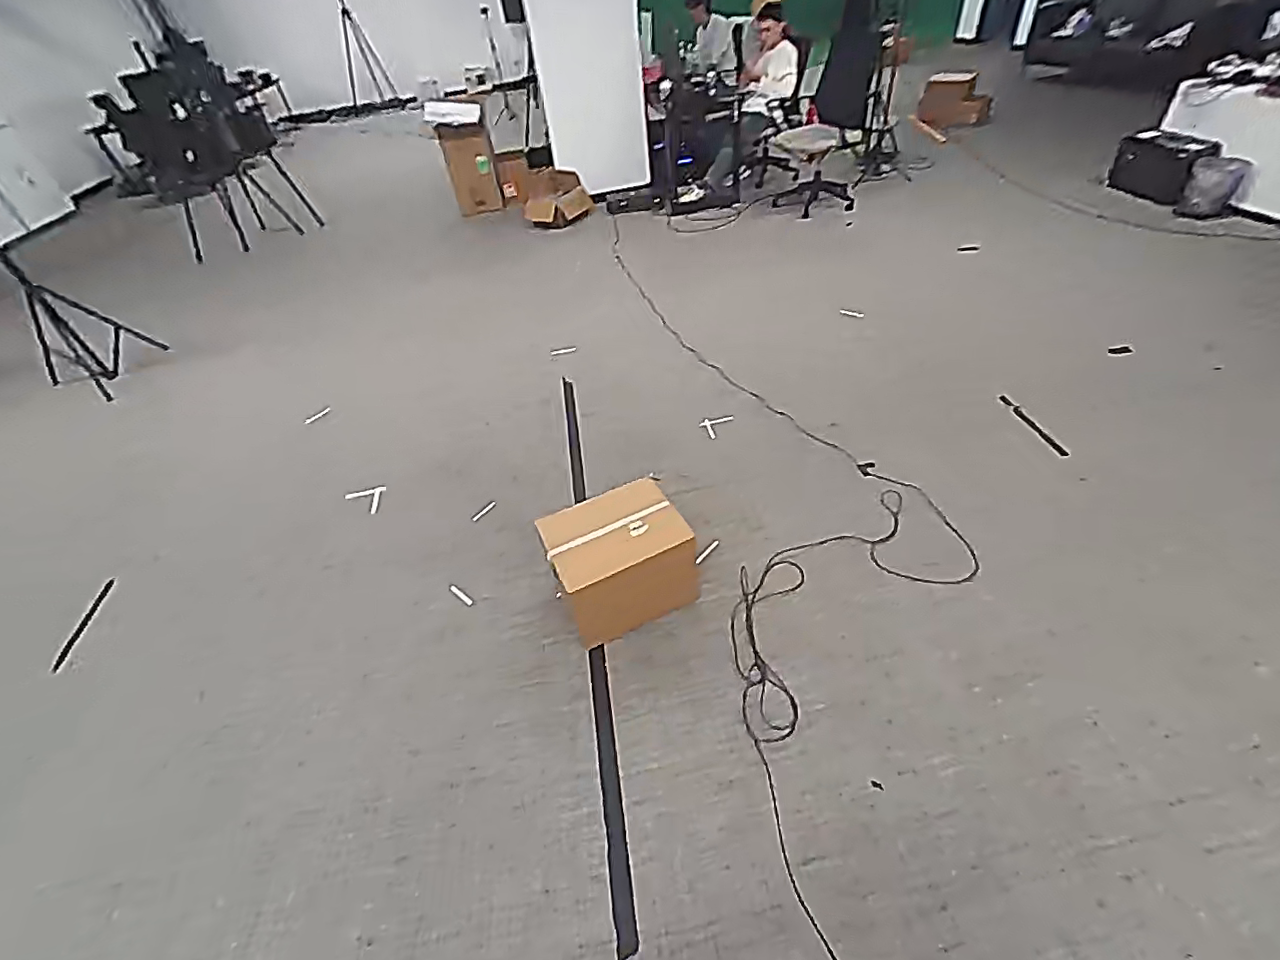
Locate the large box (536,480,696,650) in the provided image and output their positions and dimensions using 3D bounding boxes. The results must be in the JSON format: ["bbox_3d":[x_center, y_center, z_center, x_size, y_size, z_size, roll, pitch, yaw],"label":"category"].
[{"bbox_3d":[-0.069,0.268,1.731,0.408,0.320,0.320,-22,45,-15],"label":"large box"}]
